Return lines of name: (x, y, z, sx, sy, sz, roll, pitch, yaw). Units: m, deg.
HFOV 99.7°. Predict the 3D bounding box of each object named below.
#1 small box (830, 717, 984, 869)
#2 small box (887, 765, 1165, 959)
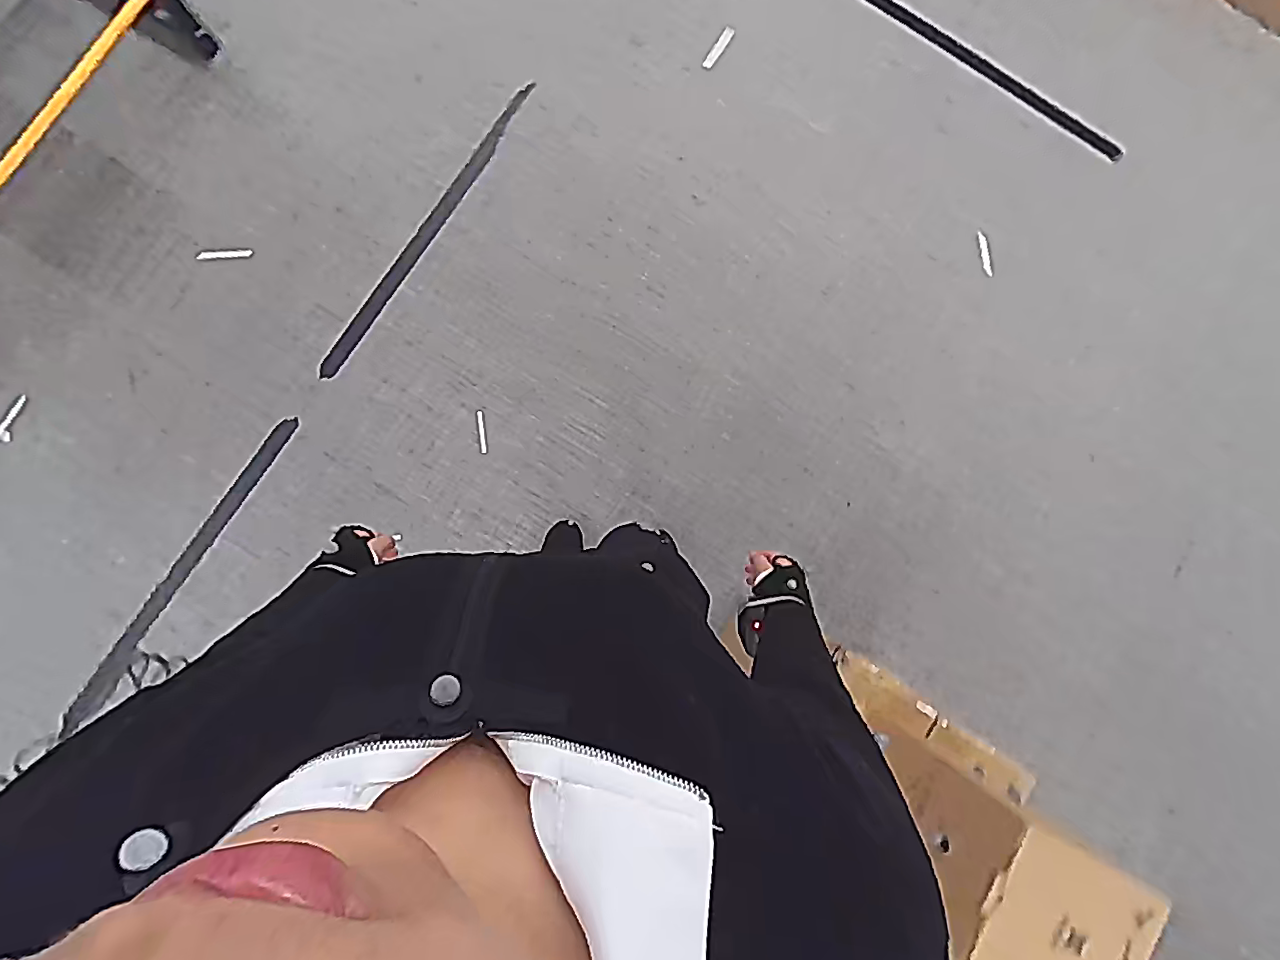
small box: (0.420, 0.485, 0.799, 0.179, 0.176, 0.168, 32, 85, 0)
small box: (0.430, 0.471, 0.636, 0.179, 0.176, 0.168, 30, 85, 1)
